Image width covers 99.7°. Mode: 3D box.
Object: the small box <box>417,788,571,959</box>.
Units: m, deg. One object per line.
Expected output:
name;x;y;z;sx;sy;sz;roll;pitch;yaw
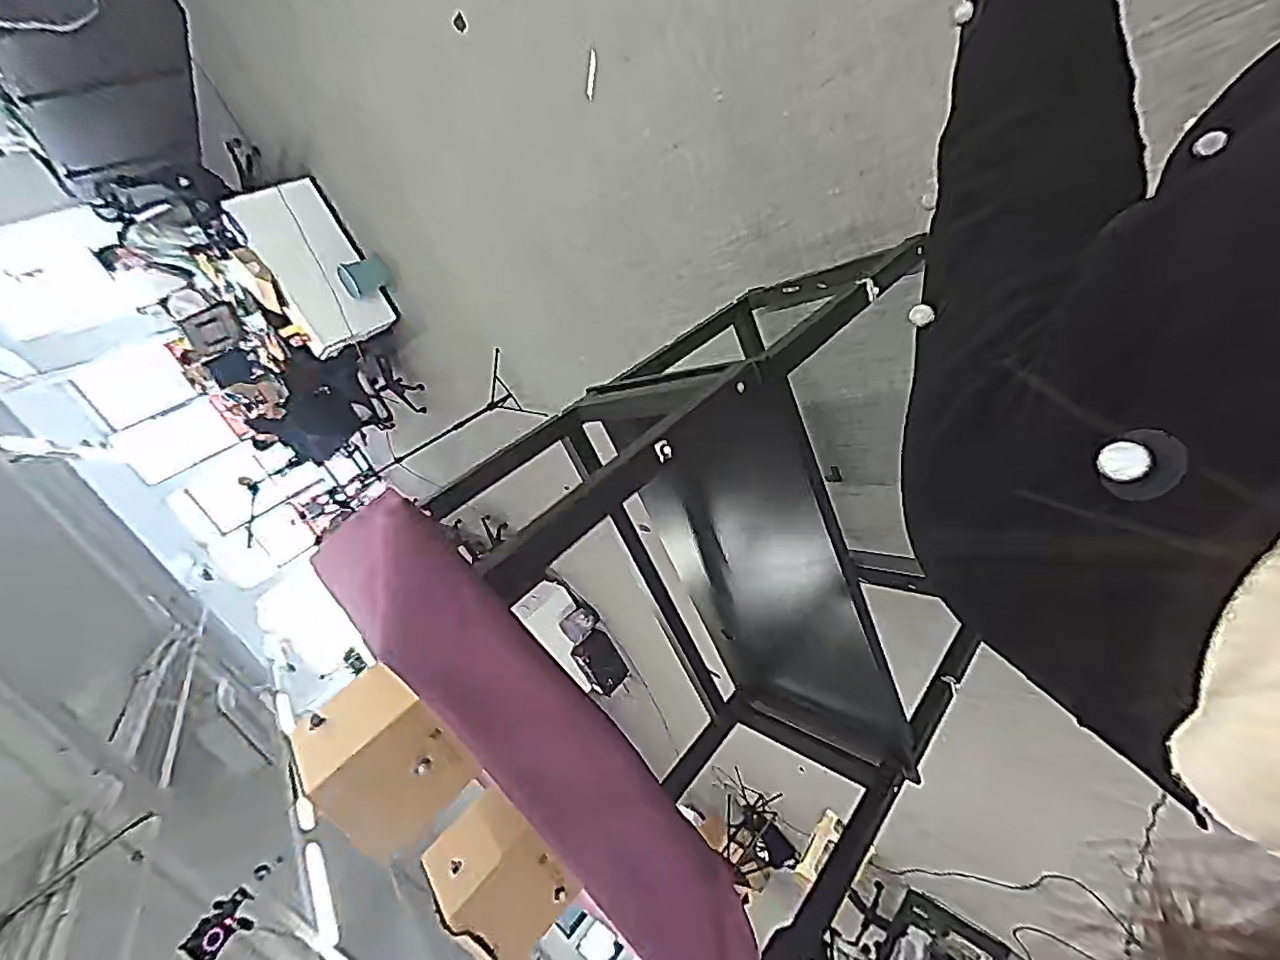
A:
small box;-0.243;0.671;0.921;0.179;0.176;0.168;-2;121;56

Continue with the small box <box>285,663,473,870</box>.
small box;-0.374;0.397;0.786;0.179;0.176;0.168;9;131;51
